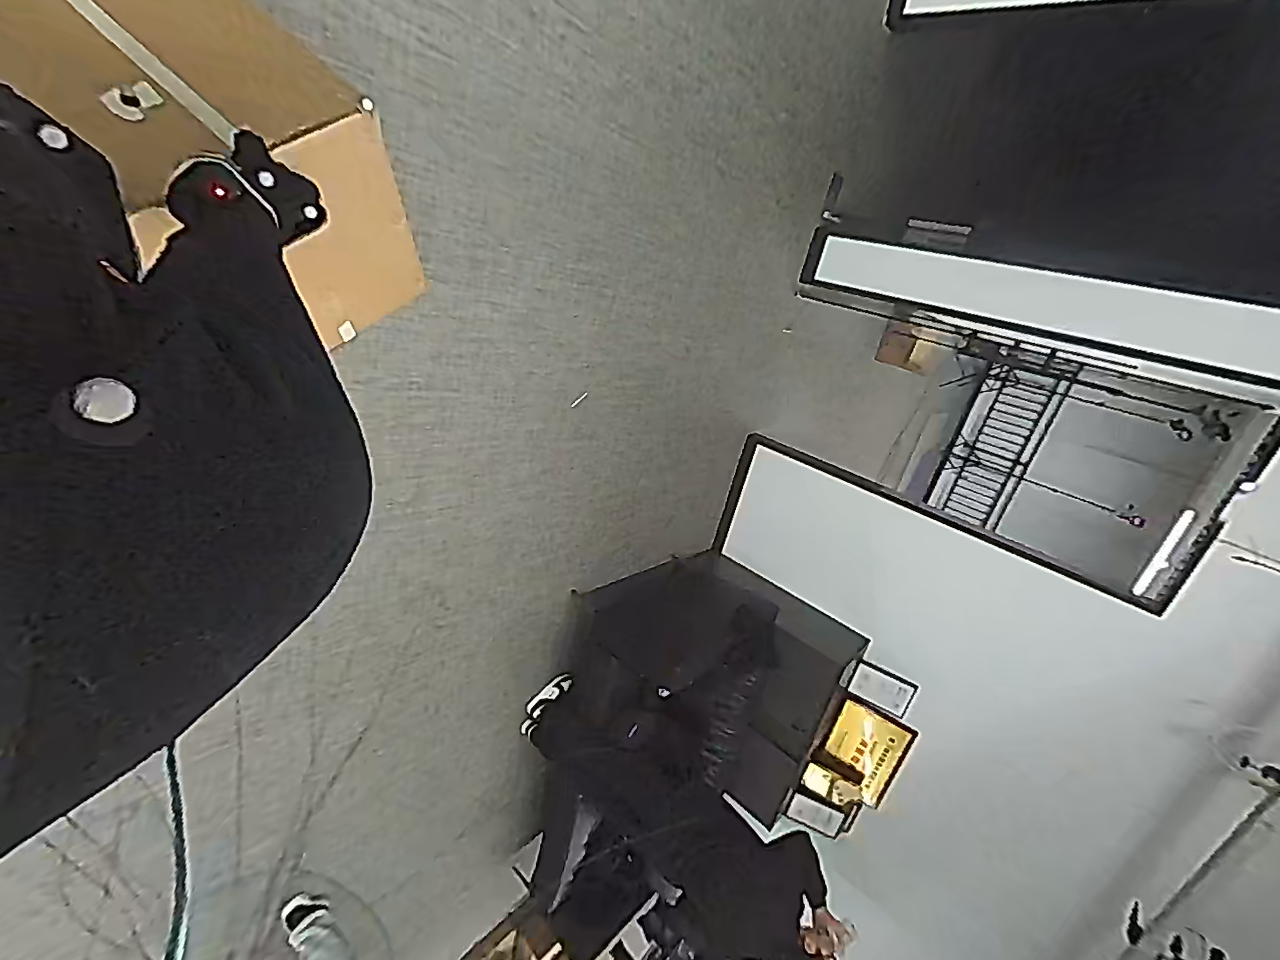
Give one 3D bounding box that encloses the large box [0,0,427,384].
[{"bbox_3d":[-0.580,-0.419,0.758,0.320,0.408,0.320,-45,170,-22],"label":"large box"}]
